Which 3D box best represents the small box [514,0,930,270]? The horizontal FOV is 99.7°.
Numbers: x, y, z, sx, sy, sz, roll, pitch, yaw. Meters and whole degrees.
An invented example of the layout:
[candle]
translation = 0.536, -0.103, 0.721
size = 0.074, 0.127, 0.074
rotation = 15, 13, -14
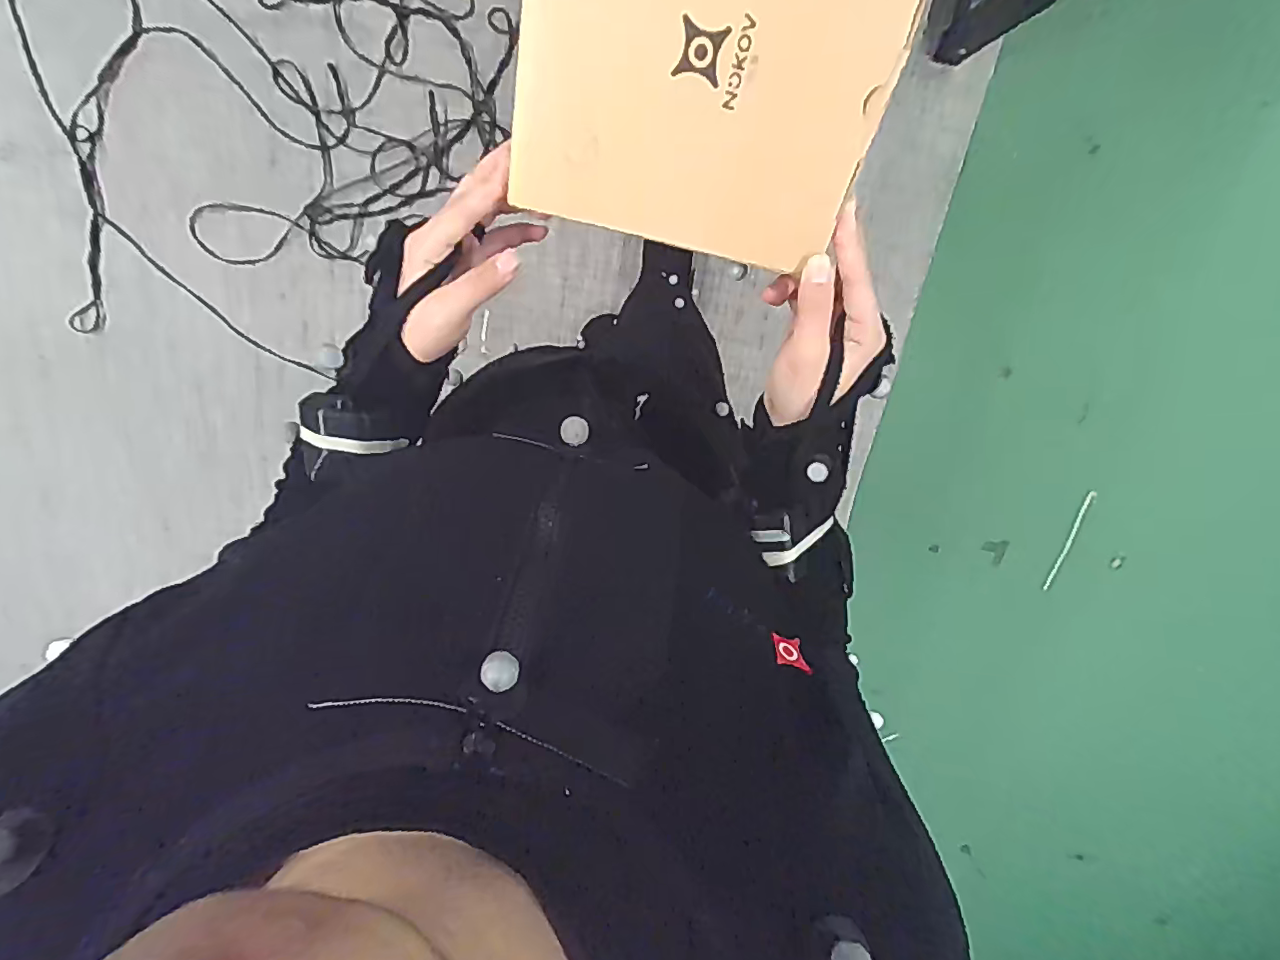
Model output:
[small box]
translation = 0.036, -0.241, 0.315
size = 0.179, 0.176, 0.168
rotation = 10, 122, -7
